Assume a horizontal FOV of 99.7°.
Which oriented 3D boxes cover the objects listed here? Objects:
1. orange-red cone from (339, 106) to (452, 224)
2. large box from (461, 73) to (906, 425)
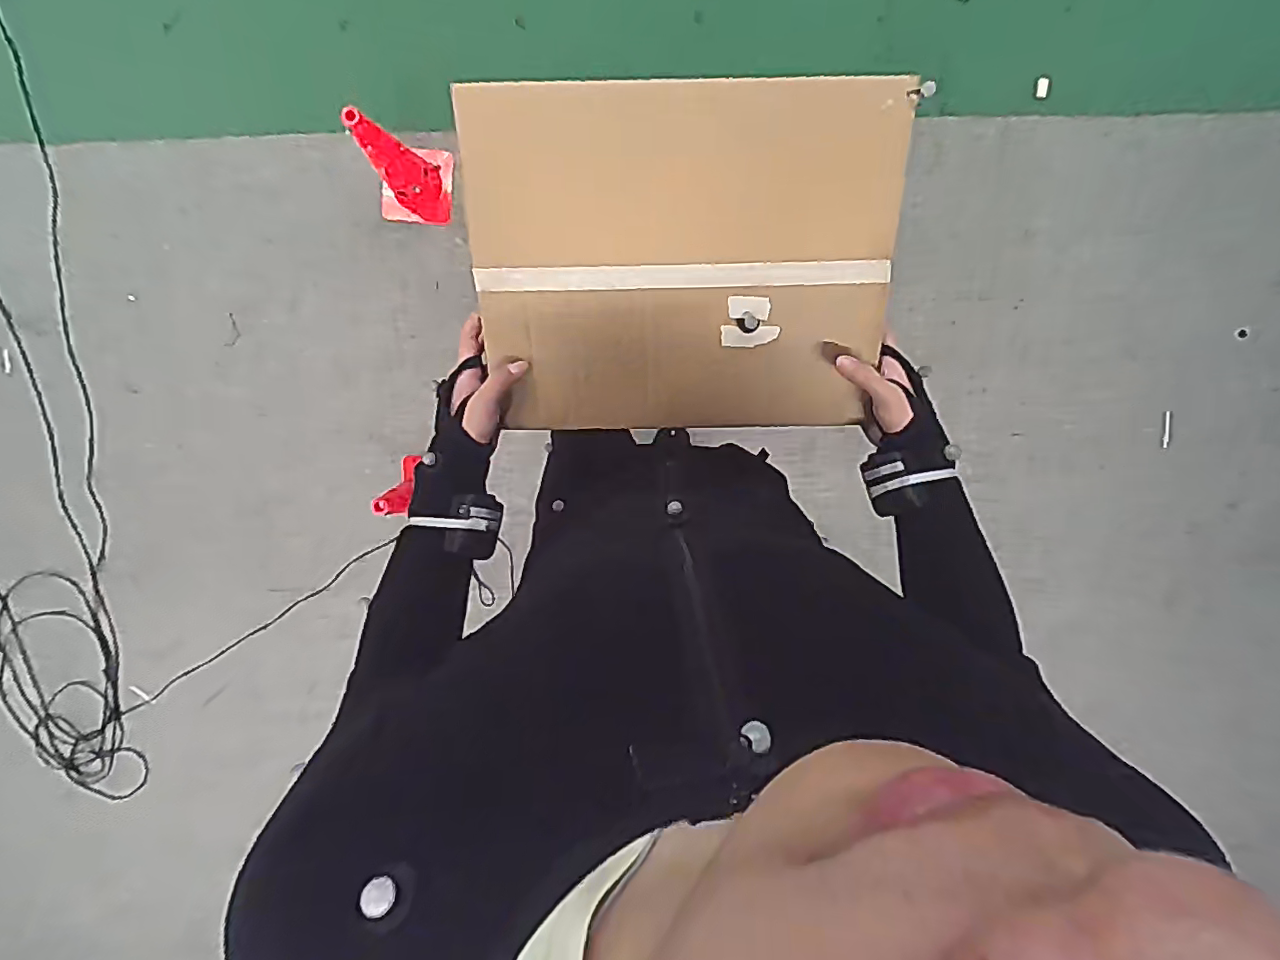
[{"bbox_3d":[-0.645,-0.821,1.366,0.199,0.360,0.198,7,95,1],"label":"orange-red cone"},{"bbox_3d":[0.040,-0.267,0.671,0.408,0.320,0.320,-2,114,0],"label":"large box"}]
